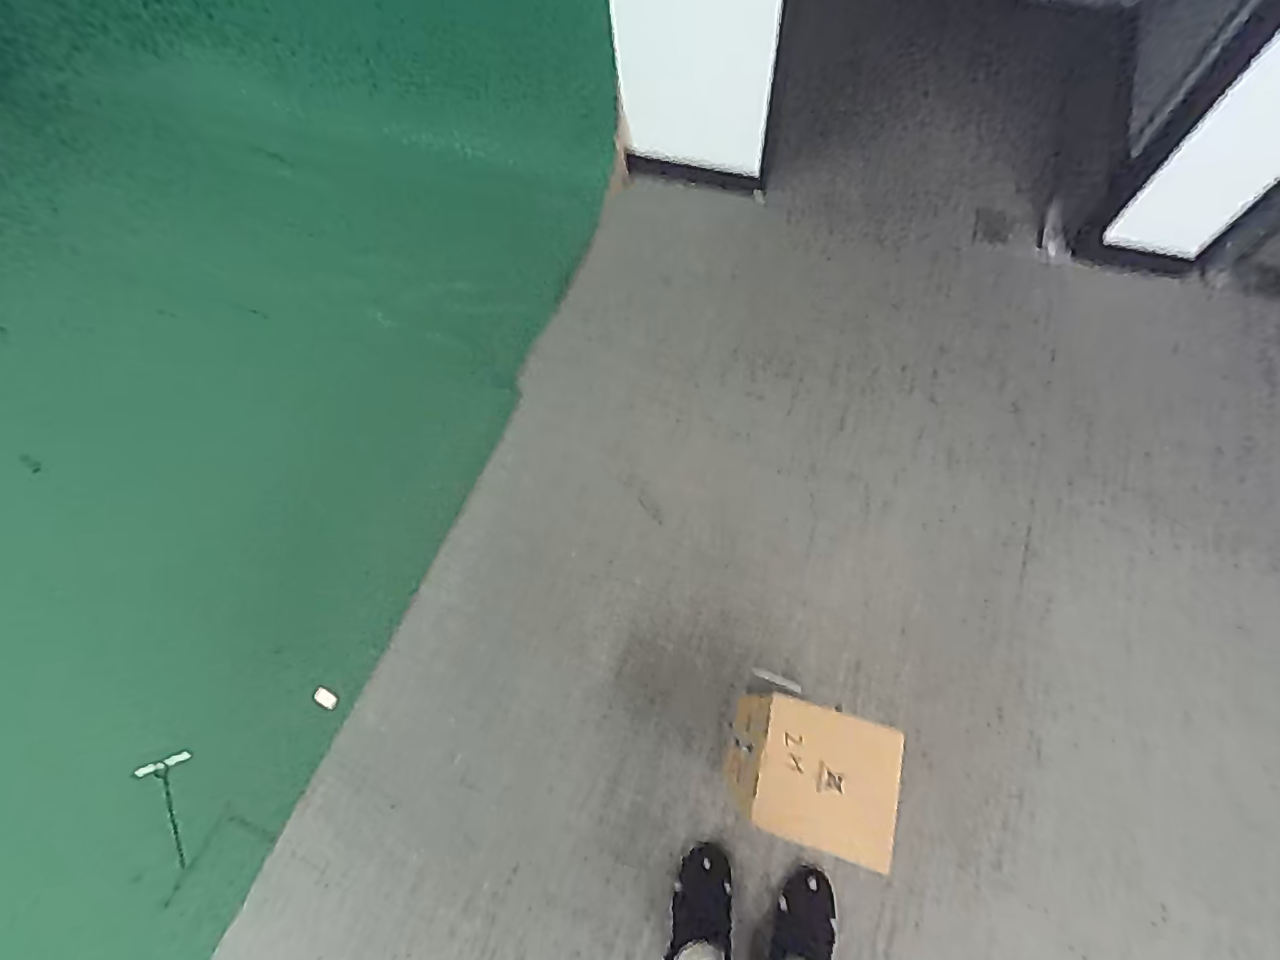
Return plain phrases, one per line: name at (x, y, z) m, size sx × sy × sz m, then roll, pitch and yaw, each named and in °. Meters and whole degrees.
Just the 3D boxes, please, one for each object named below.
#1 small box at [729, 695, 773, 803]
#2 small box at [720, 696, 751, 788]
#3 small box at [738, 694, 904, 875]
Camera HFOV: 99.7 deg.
small box at (0.254, 0.480, 0.921) m, size 0.179 × 0.176 × 0.168 m, roll 13°, pitch 68°, yaw 12°
small box at (0.264, 0.541, 1.074) m, size 0.179 × 0.176 × 0.168 m, roll 14°, pitch 68°, yaw 12°
small box at (0.247, 0.417, 0.768) m, size 0.179 × 0.176 × 0.168 m, roll 14°, pitch 67°, yaw 12°
